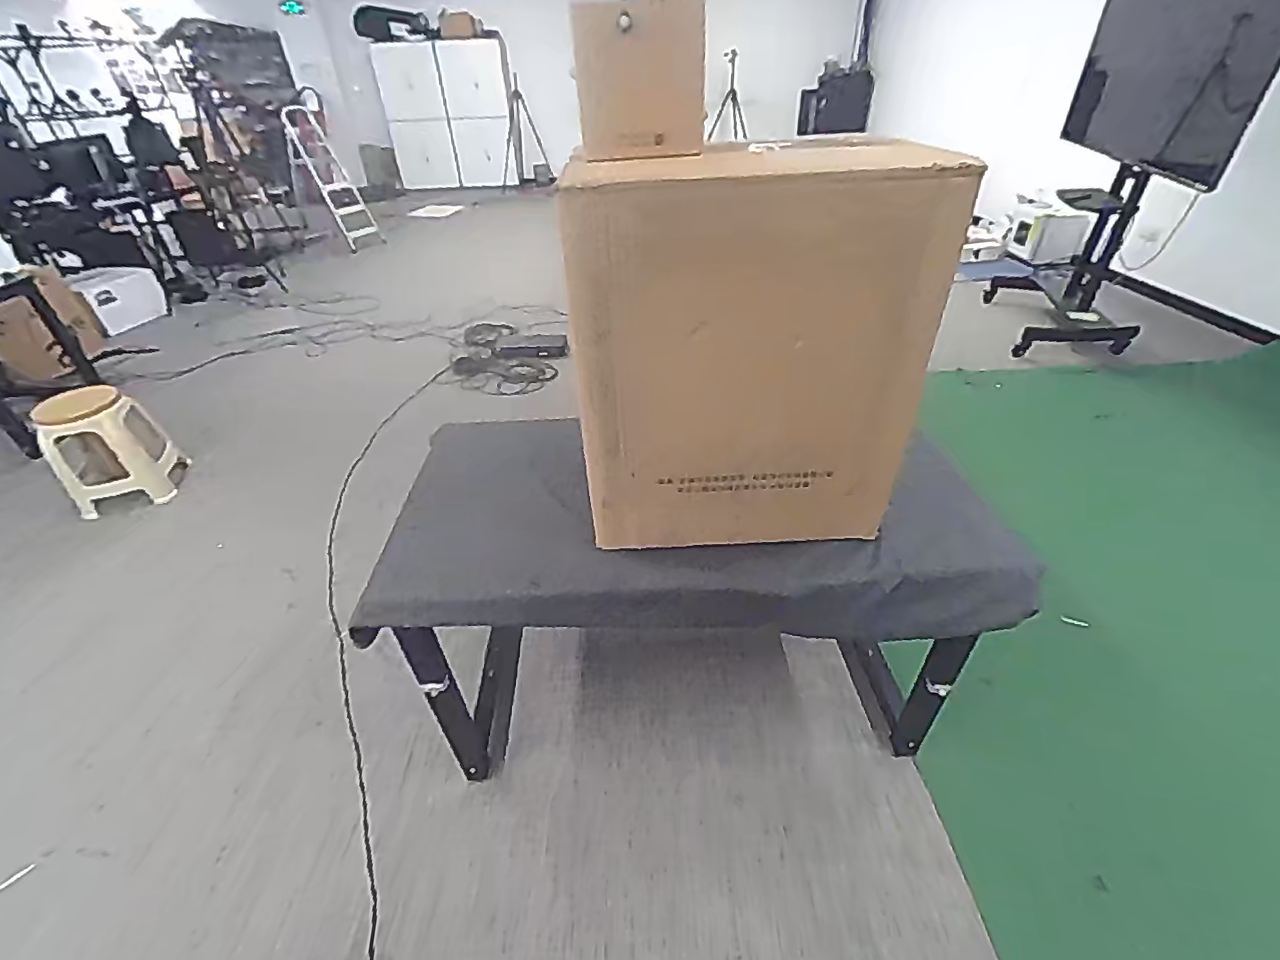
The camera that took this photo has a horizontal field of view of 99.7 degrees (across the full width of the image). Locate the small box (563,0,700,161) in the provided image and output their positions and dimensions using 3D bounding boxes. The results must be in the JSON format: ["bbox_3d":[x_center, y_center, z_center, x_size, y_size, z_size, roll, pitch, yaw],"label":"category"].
[{"bbox_3d":[-0.009,-0.554,0.755,0.168,0.176,0.179,-5,38,1],"label":"small box"}]
